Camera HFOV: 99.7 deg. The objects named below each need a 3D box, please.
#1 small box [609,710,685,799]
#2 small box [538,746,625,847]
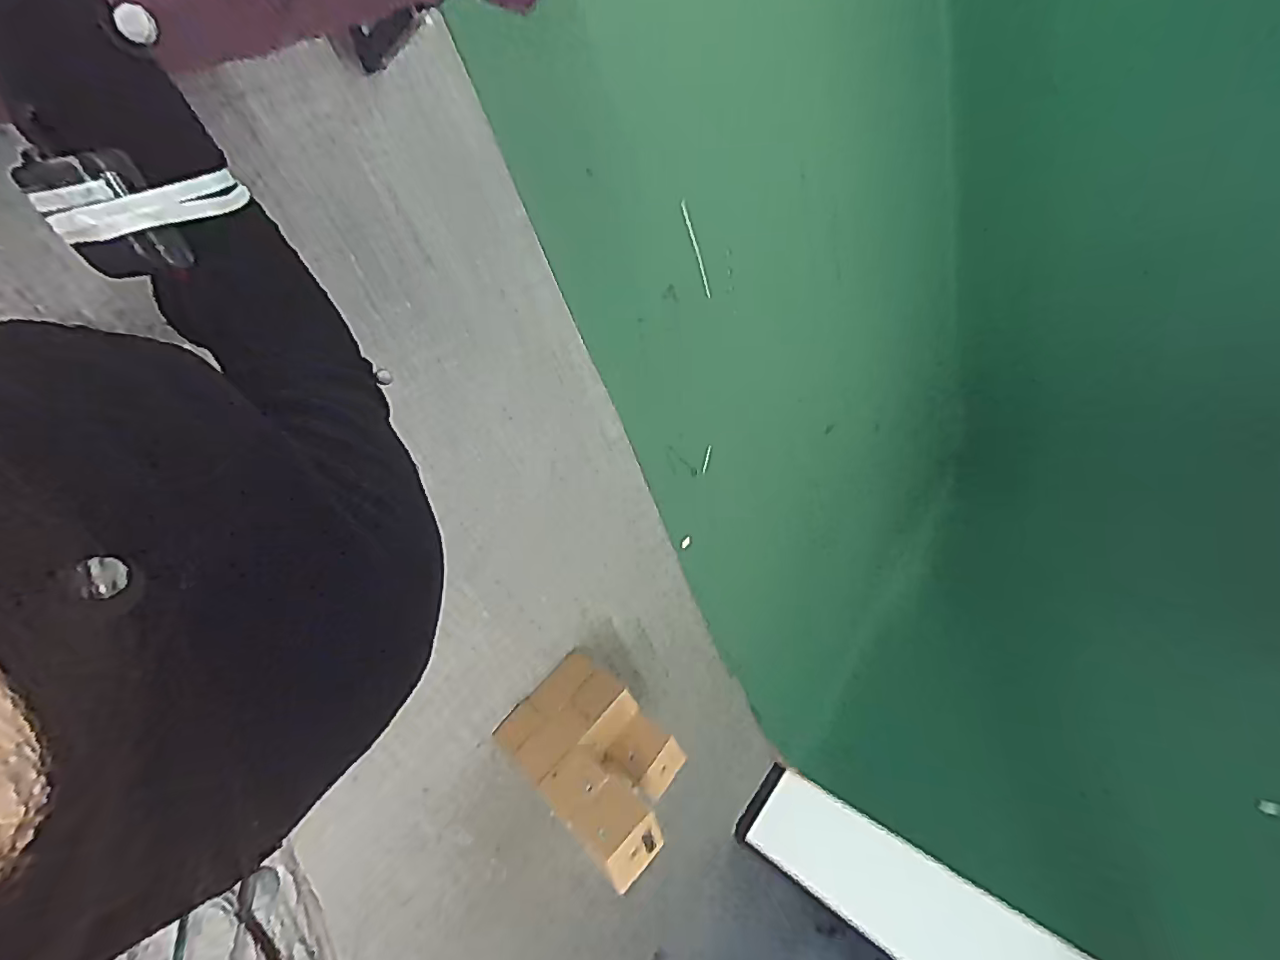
[{"bbox_3d":[0.017,0.924,1.831,0.179,0.176,0.168,-45,129,-27],"label":"small box"},{"bbox_3d":[-0.180,0.954,1.647,0.168,0.176,0.179,-39,126,-29],"label":"small box"}]
